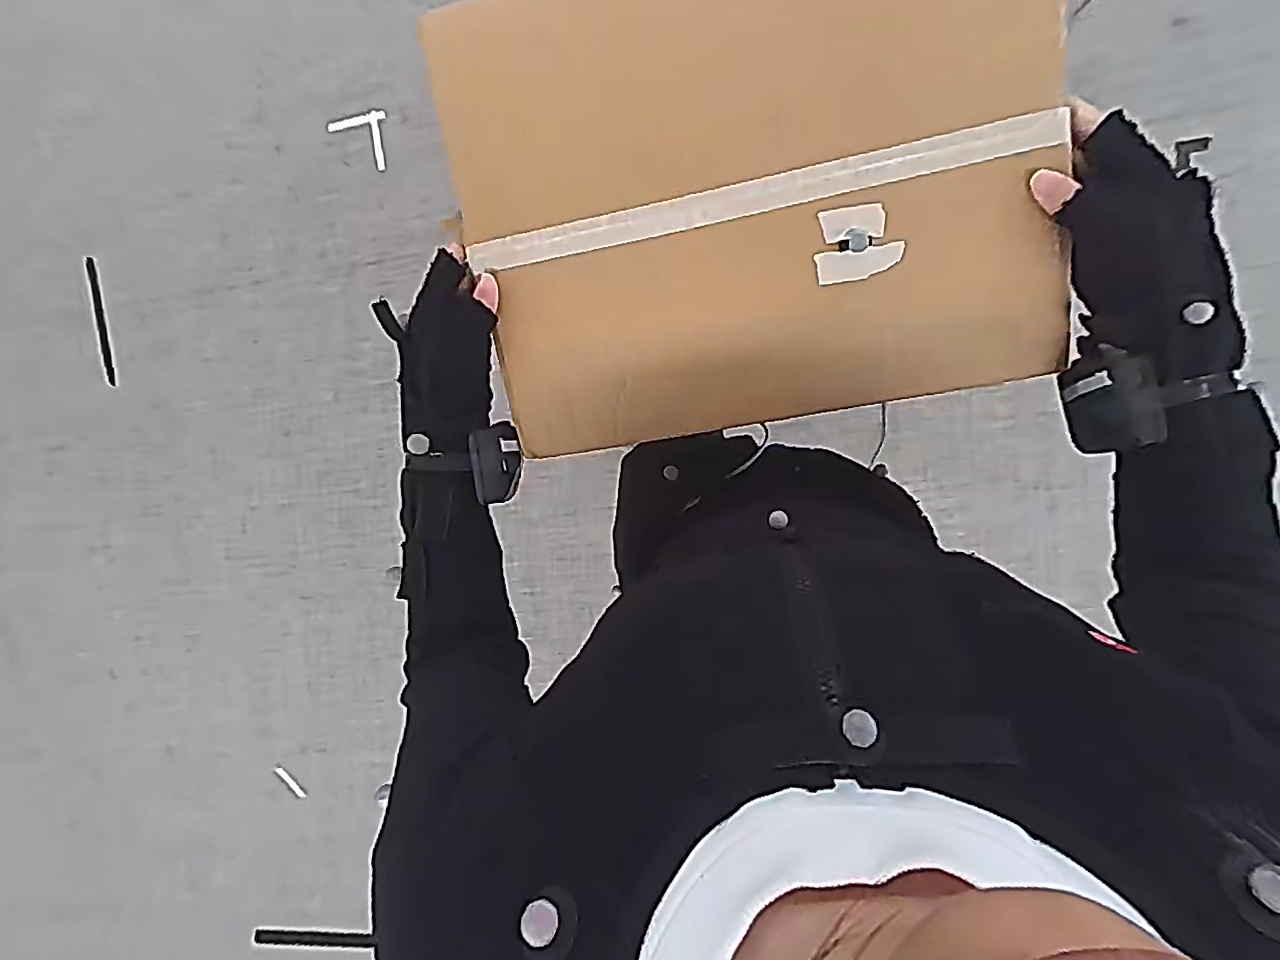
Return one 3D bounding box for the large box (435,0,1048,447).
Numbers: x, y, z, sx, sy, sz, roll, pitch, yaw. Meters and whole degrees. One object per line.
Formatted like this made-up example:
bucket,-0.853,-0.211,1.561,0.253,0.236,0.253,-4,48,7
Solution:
large box,0.087,-0.242,0.531,0.408,0.320,0.320,-10,104,7
